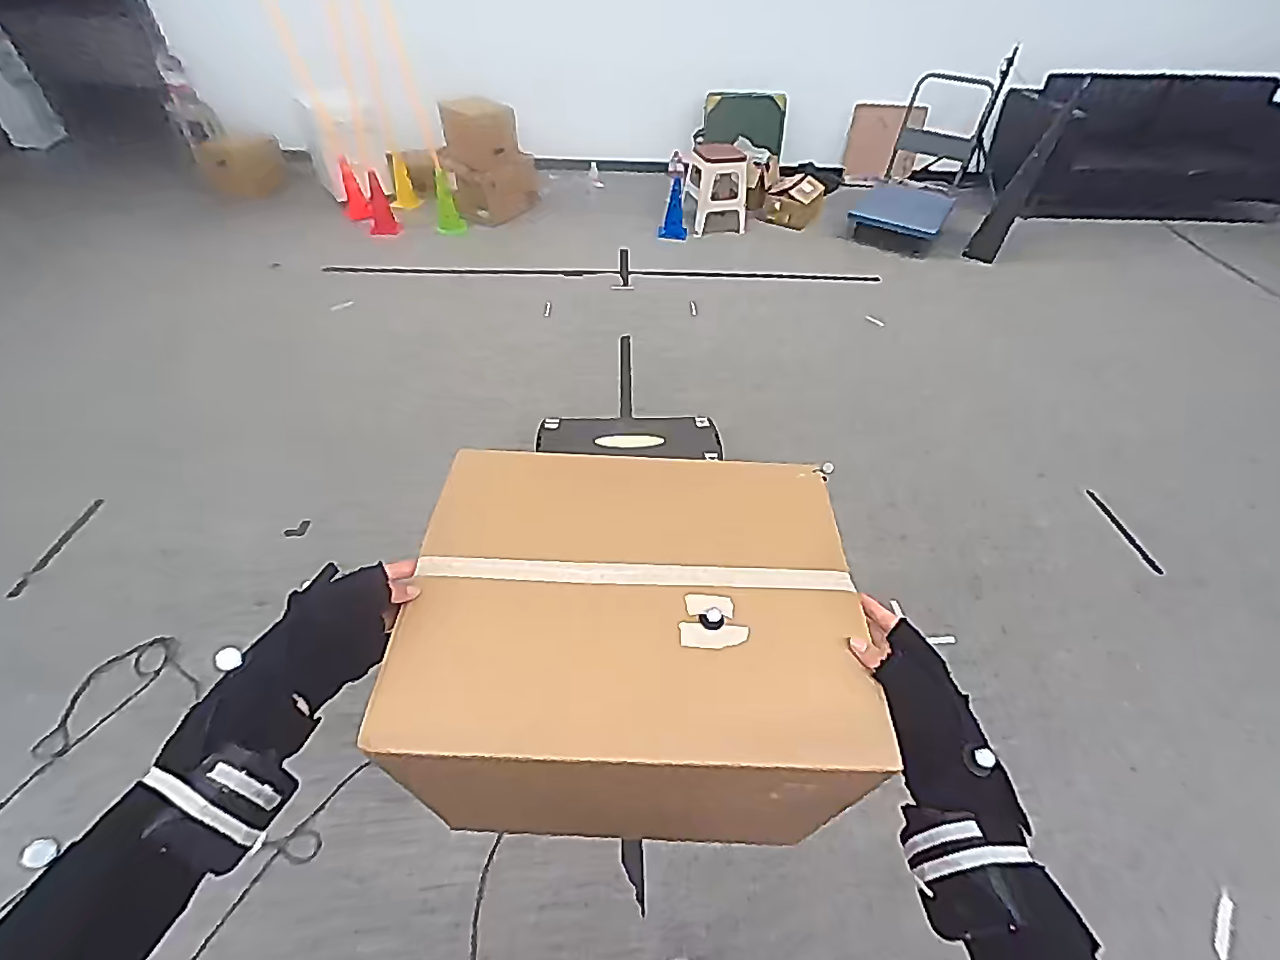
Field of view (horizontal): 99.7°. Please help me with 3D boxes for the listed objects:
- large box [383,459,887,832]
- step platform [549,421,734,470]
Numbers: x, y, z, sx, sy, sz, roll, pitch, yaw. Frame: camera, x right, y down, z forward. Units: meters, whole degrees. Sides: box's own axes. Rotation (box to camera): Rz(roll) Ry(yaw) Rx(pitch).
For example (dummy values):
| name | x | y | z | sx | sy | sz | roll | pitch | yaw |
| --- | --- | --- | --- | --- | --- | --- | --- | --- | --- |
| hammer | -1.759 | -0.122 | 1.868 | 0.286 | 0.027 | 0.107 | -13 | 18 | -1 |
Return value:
| name | x | y | z | sx | sy | sz | roll | pitch | yaw |
| --- | --- | --- | --- | --- | --- | --- | --- | --- | --- |
| large box | -0.008 | 0.196 | 0.627 | 0.408 | 0.320 | 0.320 | 3 | 48 | -1 |
| step platform | 0.003 | -0.069 | 2.026 | 0.684 | 0.204 | 0.286 | -1 | 46 | -5 |
